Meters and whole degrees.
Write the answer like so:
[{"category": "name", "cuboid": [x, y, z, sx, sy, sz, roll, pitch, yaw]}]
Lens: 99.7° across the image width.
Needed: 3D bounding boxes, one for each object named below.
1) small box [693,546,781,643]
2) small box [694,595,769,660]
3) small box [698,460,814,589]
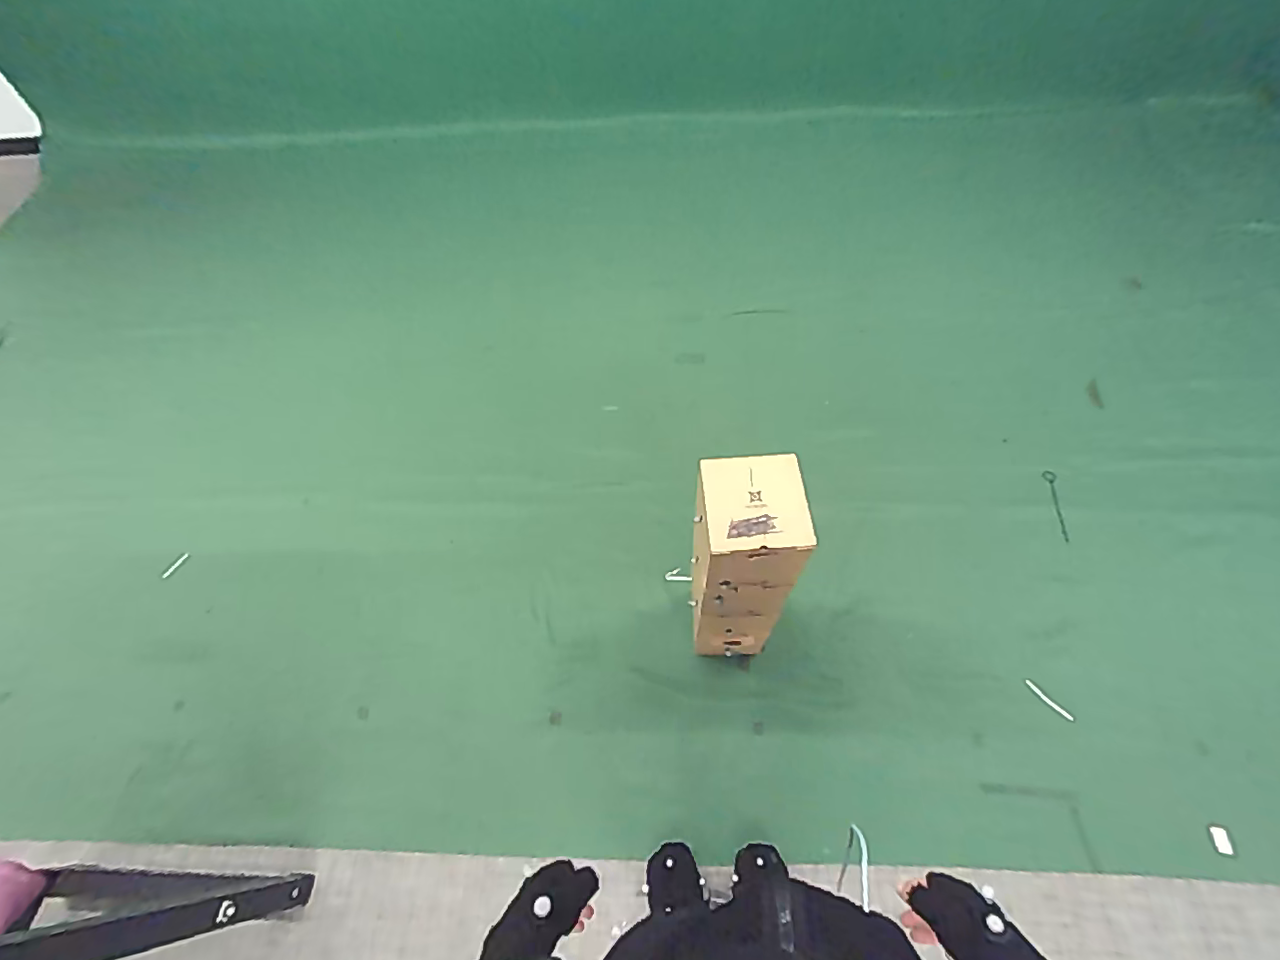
[{"category": "small box", "cuboid": [0.212, 0.260, 1.230, 0.168, 0.176, 0.179, -3, 59, 1]}, {"category": "small box", "cuboid": [0.223, 0.345, 1.368, 0.168, 0.176, 0.179, -2, 58, 3]}, {"category": "small box", "cuboid": [0.193, 0.086, 0.952, 0.168, 0.176, 0.179, -4, 58, 1]}]
